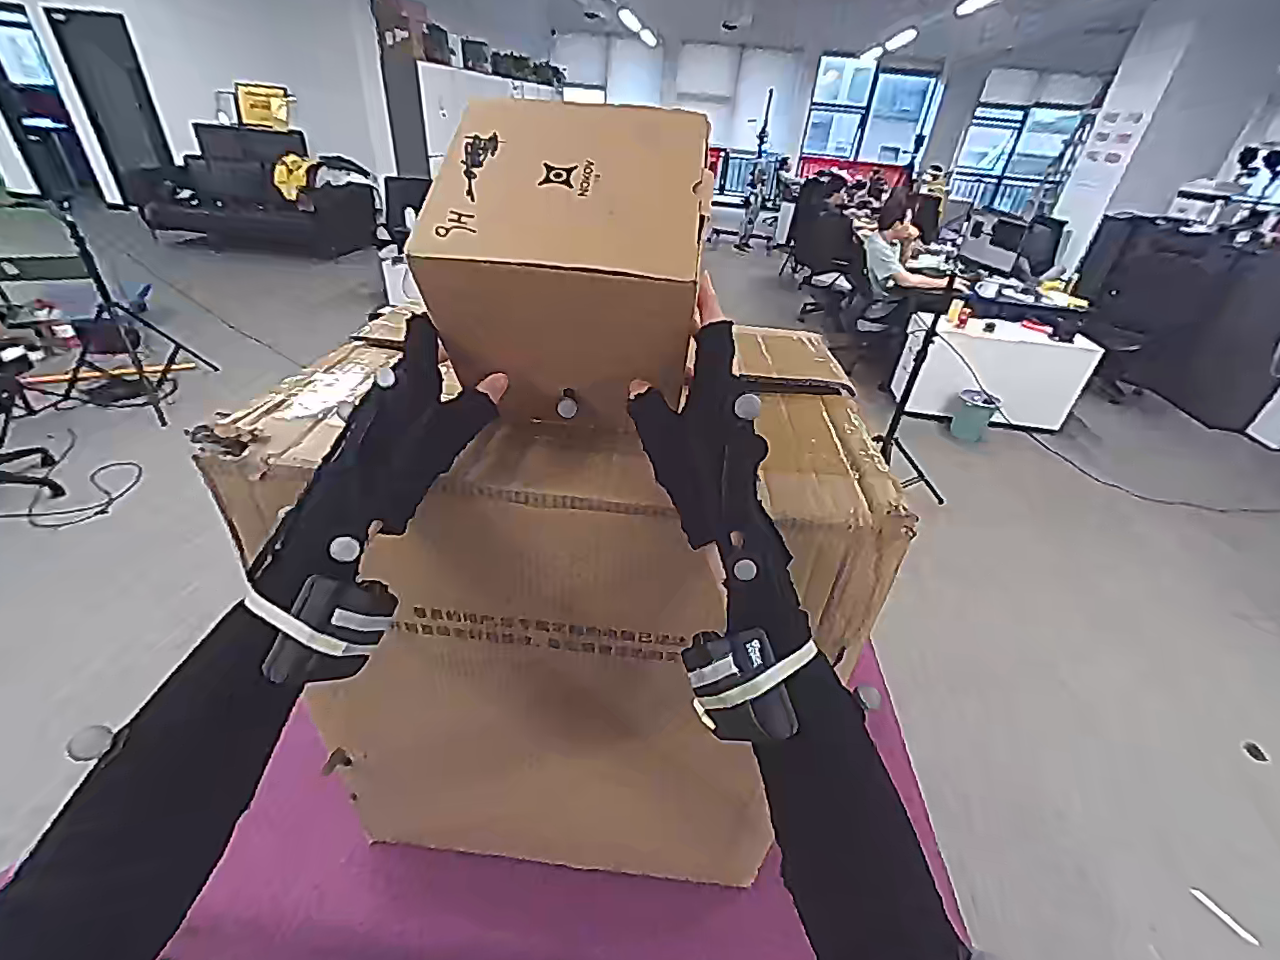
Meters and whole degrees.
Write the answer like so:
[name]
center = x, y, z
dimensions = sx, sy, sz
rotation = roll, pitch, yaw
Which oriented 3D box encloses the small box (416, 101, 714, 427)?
[small box]
center = -0.044, -0.159, 0.429
dimensions = 0.179, 0.176, 0.168
rotation = 6, 60, 1
